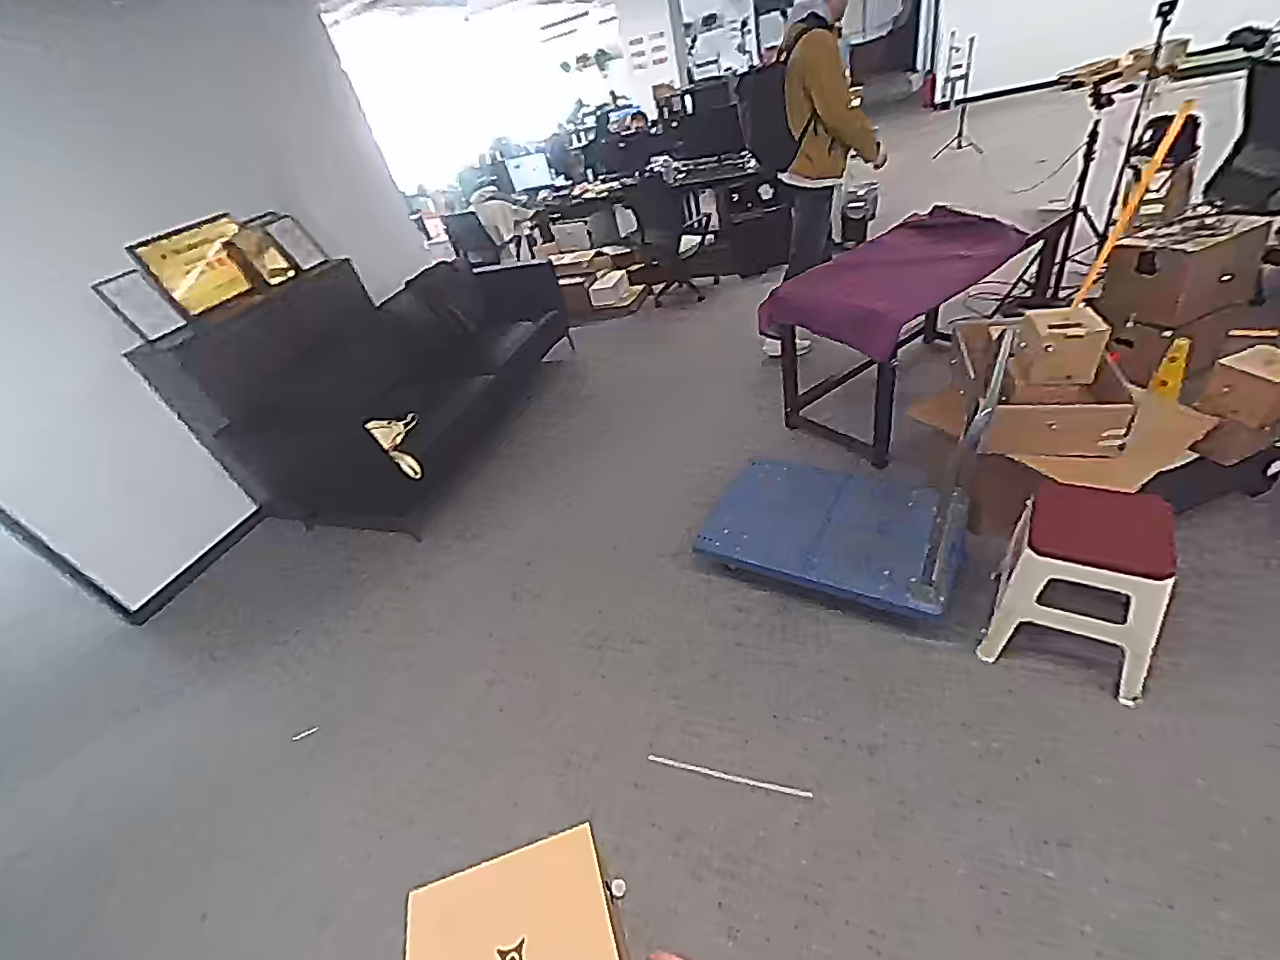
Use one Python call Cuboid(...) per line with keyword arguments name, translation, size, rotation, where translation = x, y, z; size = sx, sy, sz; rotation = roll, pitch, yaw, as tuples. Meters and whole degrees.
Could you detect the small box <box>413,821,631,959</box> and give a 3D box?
Cuboid(name="small box", translation=(-0.092, 0.451, 0.476), size=(0.168, 0.176, 0.179), rotation=(-14, 36, -10))
